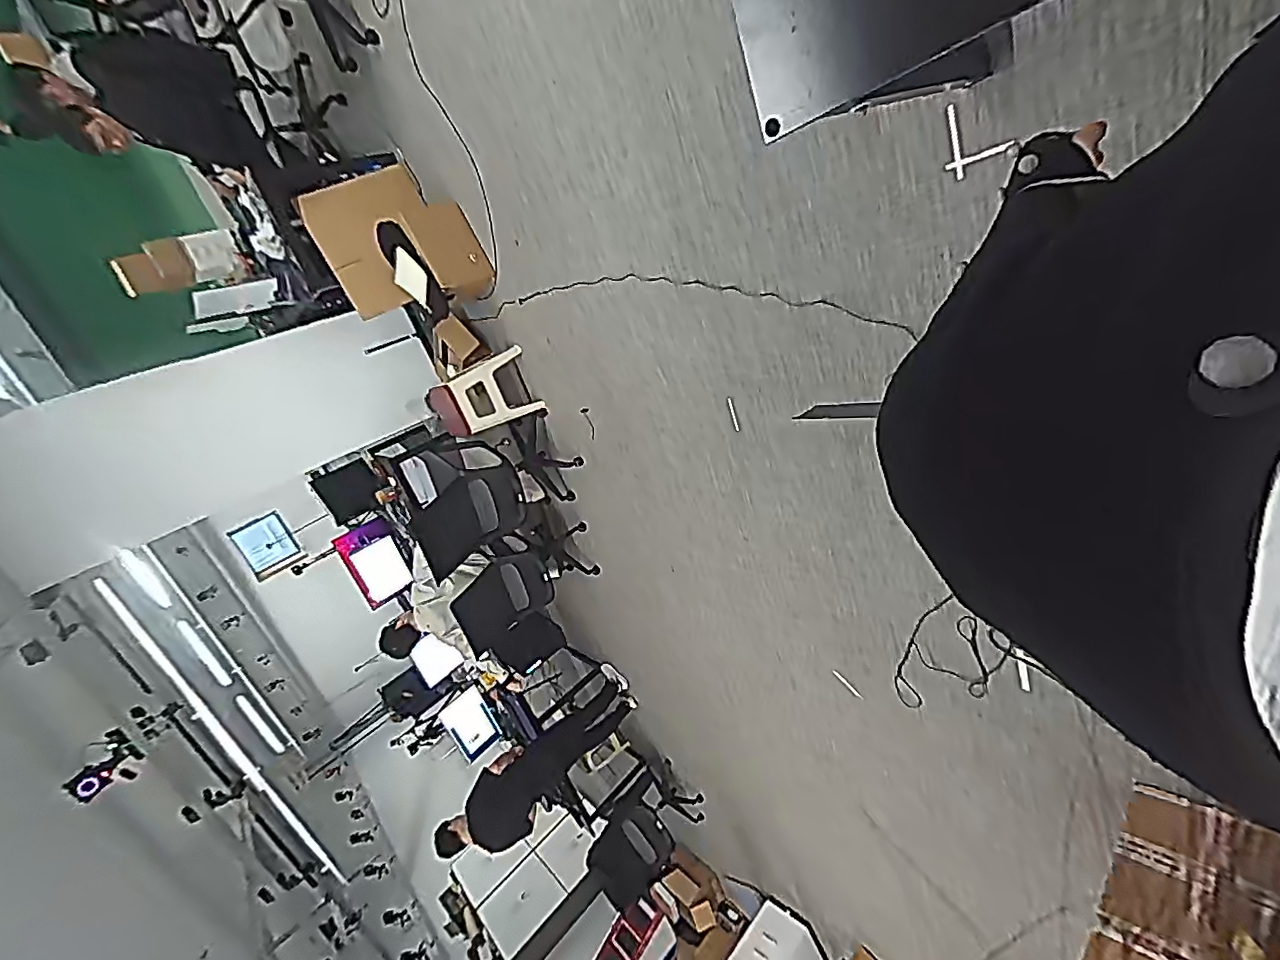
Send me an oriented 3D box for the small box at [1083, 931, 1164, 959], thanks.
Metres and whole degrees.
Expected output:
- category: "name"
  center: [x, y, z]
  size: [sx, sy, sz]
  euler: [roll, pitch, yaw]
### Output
- category: "small box"
  center: [1.199, 1.256, 1.309]
  size: [0.179, 0.176, 0.168]
  euler: [-5, 110, 55]
